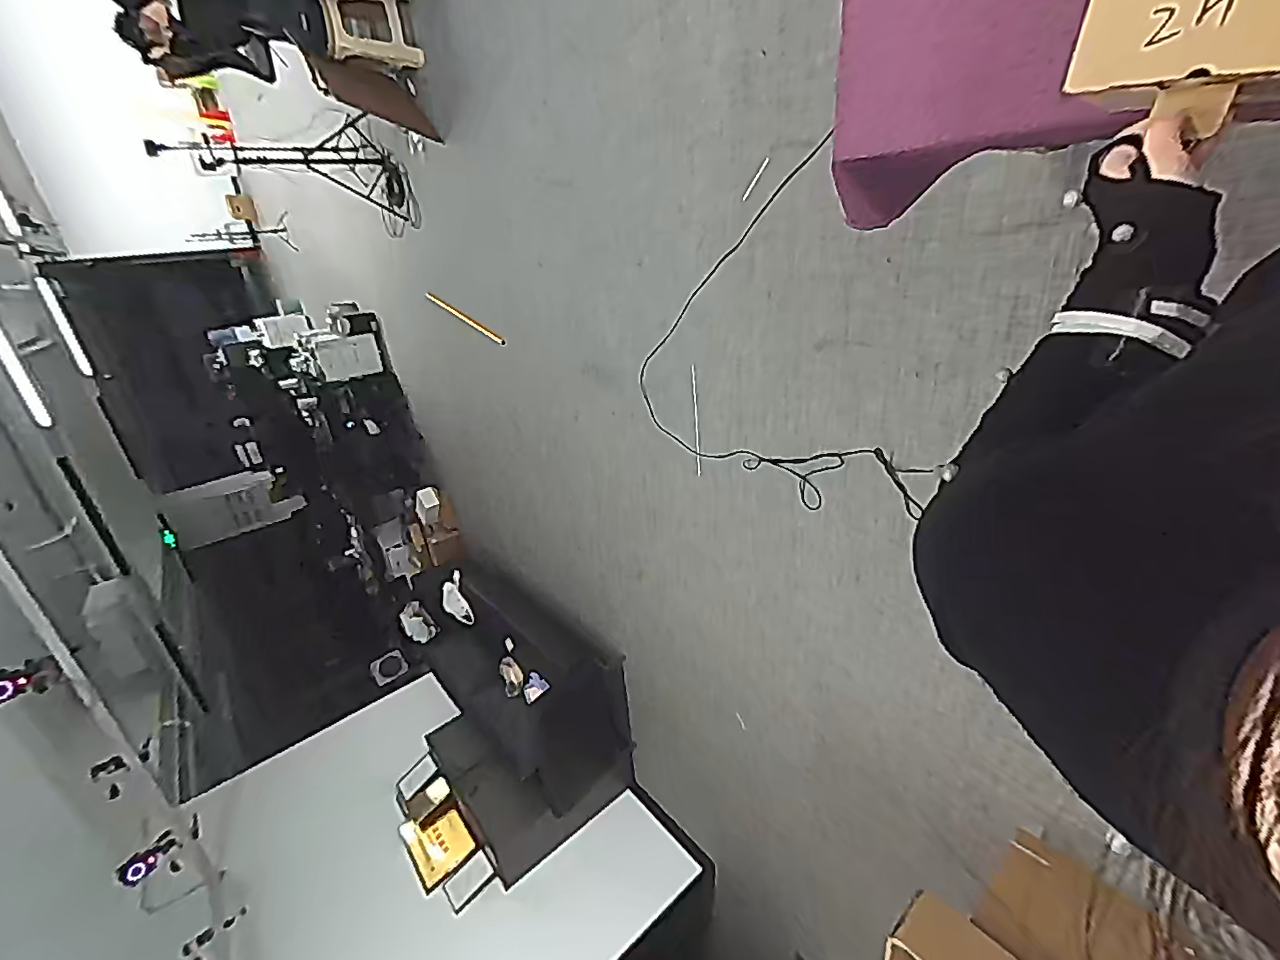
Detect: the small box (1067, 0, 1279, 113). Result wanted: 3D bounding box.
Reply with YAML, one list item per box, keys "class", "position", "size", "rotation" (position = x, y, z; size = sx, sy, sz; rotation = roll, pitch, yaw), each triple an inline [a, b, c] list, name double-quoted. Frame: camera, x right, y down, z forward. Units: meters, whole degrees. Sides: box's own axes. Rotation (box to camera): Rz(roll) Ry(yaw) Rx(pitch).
- class: "small box"
  position: [0.465, -0.388, 0.399]
  size: [0.168, 0.176, 0.179]
  rotation: [29, 130, 41]
